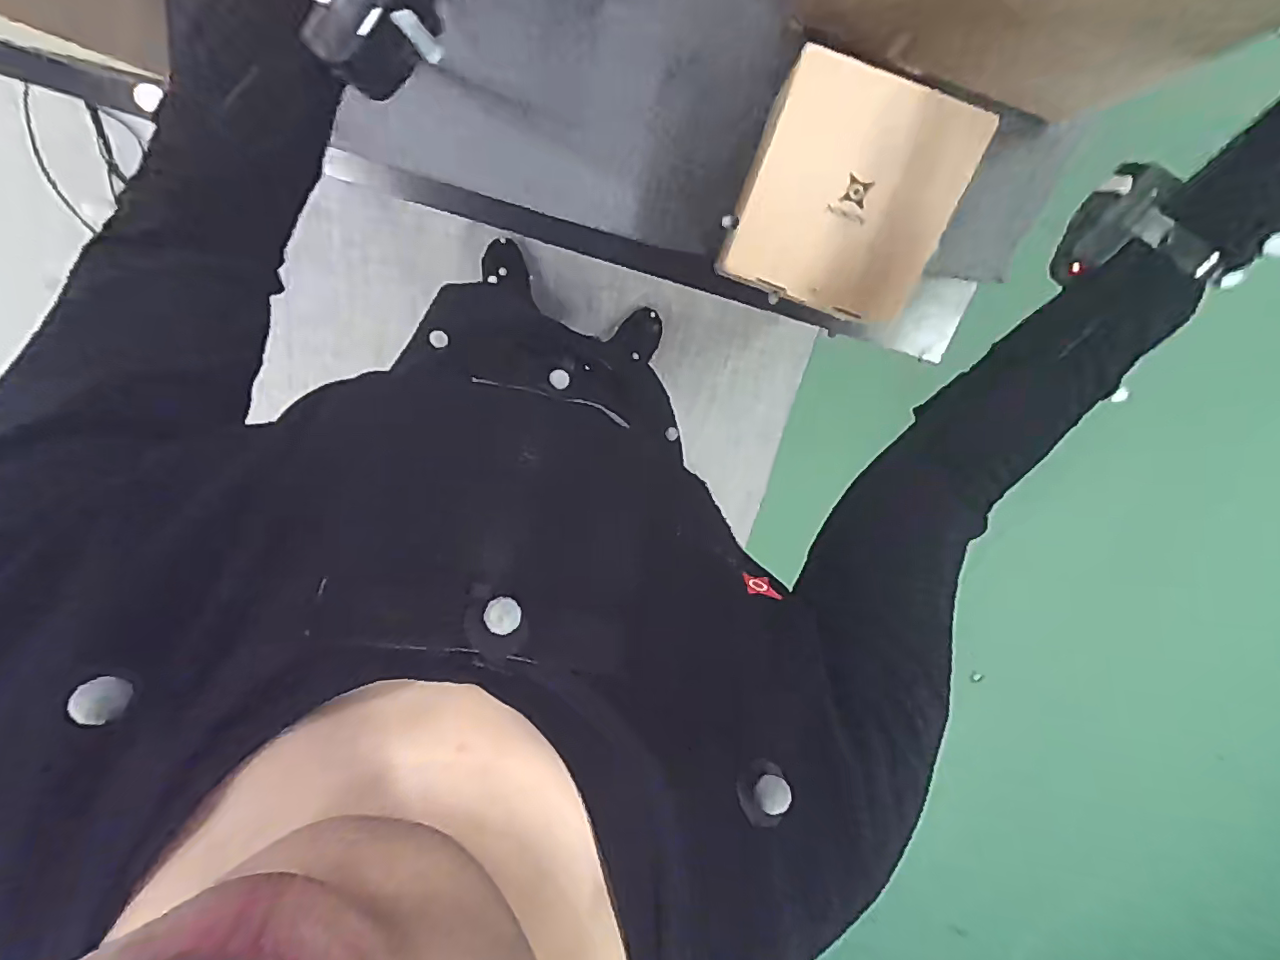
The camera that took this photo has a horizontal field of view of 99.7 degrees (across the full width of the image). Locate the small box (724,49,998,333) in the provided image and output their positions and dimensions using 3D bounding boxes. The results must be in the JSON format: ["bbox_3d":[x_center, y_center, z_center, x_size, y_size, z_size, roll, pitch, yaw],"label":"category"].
[{"bbox_3d":[0.189,-0.265,0.531,0.168,0.176,0.179,19,112,-3],"label":"small box"}]
